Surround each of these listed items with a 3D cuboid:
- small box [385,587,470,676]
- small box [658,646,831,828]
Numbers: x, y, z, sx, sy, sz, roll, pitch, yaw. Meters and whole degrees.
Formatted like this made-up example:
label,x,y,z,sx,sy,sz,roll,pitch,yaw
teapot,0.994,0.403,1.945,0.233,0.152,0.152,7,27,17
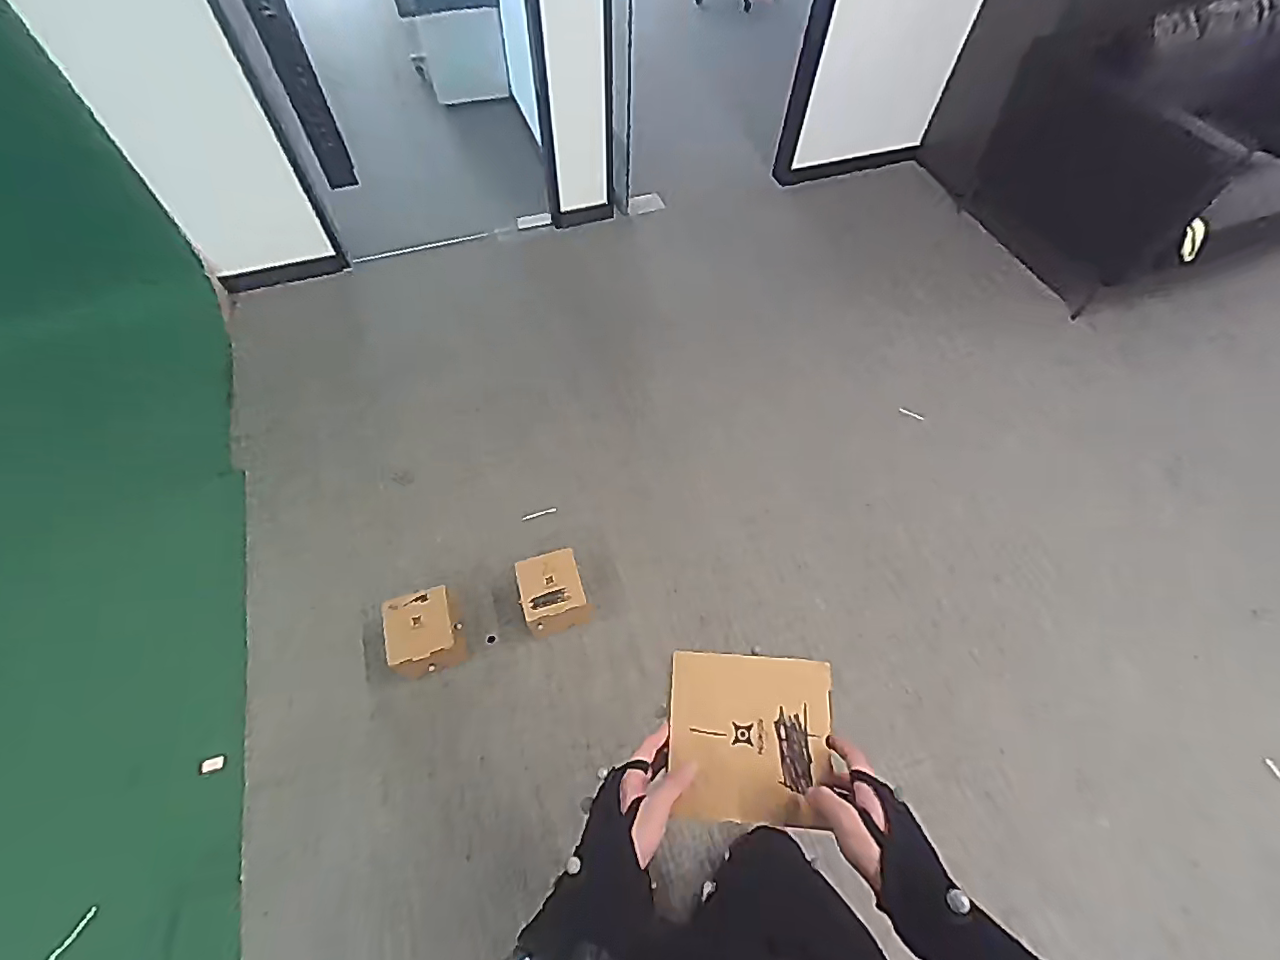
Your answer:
label,x,y,z,sx,sy,sz,roll,pitch,yaw
small box,-0.570,0.416,1.462,0.168,0.176,0.179,-15,60,-11
small box,0.115,0.290,0.645,0.179,0.176,0.168,3,72,4
